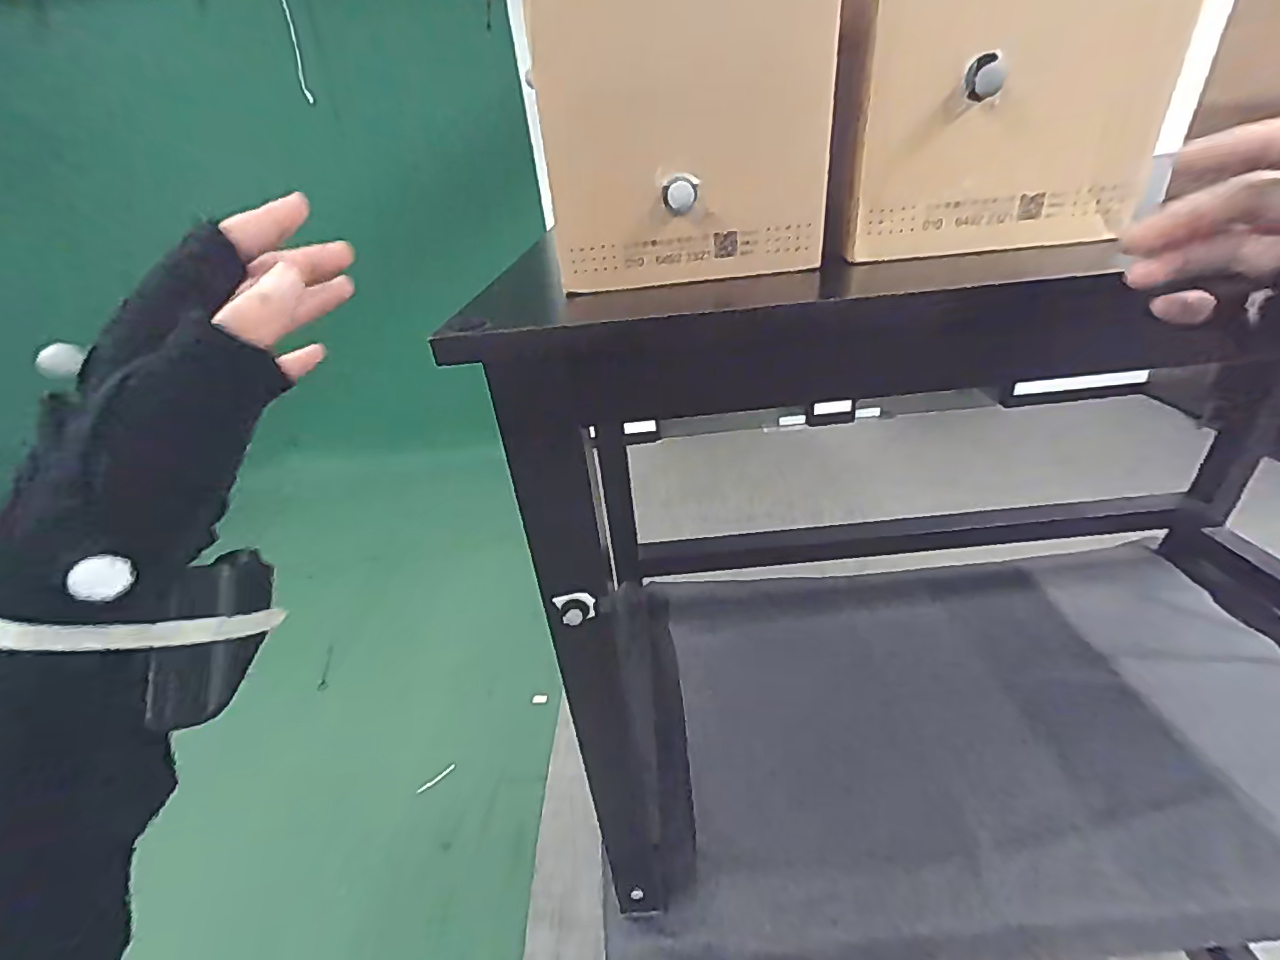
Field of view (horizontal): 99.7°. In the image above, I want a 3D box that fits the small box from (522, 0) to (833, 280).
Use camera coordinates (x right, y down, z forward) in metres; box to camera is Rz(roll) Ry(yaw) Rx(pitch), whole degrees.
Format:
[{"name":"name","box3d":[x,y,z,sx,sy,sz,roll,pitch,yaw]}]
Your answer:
[{"name":"small box","box3d":[0.020,-0.244,0.377,0.168,0.176,0.179,-6,31,1]}]
